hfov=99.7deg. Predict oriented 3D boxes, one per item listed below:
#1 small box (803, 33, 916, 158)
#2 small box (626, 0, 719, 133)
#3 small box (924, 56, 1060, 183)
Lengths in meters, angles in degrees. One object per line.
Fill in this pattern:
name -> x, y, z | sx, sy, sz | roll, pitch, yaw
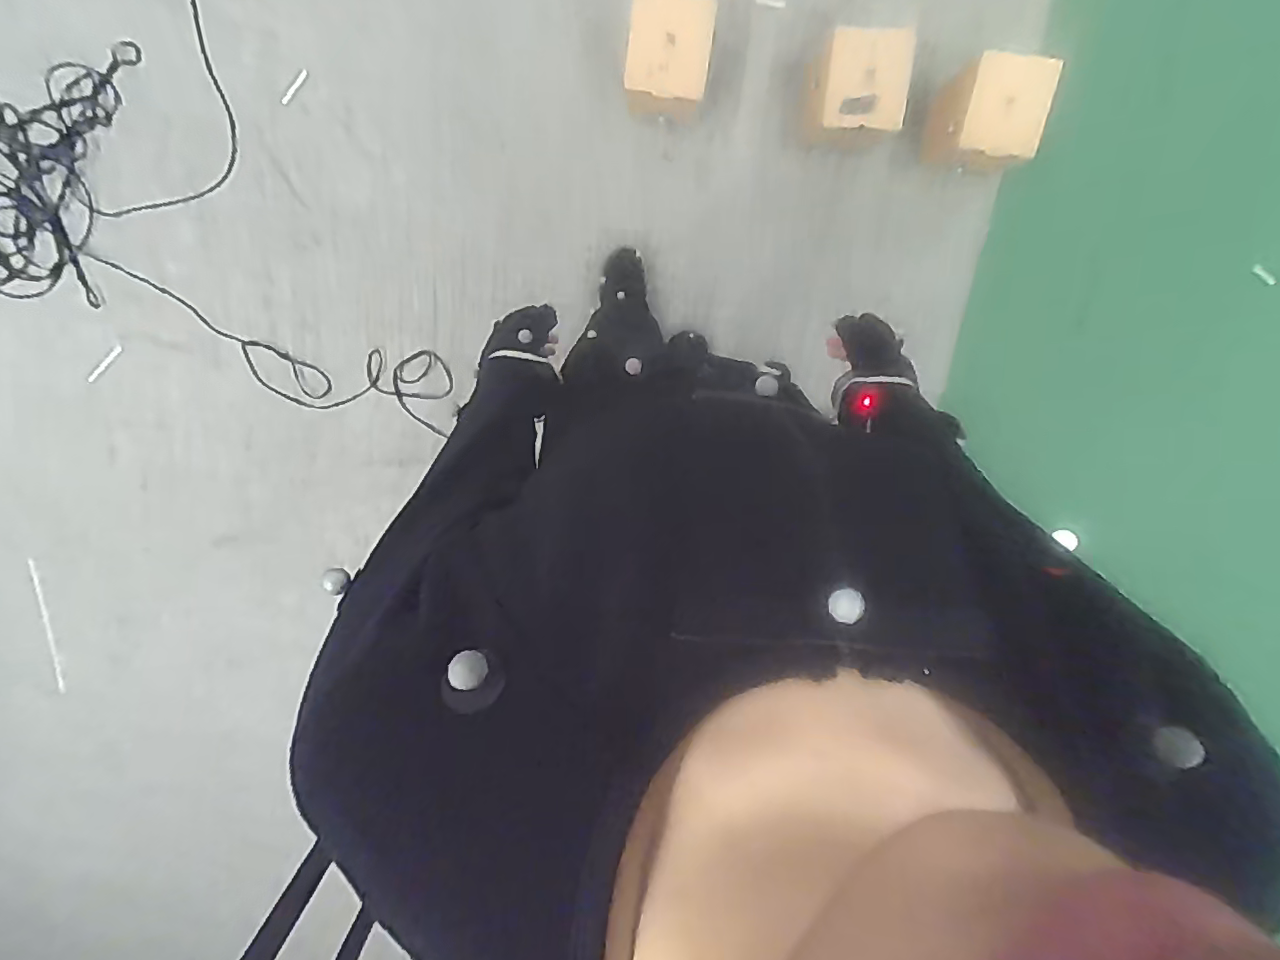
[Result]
small box -> 0.462, -0.817, 1.168 | 0.168, 0.176, 0.179 | 3, 105, 0
small box -> 0.065, -0.877, 1.155 | 0.168, 0.176, 0.179 | 9, 107, 0
small box -> 0.751, -0.774, 1.177 | 0.168, 0.176, 0.179 | 7, 106, -1
